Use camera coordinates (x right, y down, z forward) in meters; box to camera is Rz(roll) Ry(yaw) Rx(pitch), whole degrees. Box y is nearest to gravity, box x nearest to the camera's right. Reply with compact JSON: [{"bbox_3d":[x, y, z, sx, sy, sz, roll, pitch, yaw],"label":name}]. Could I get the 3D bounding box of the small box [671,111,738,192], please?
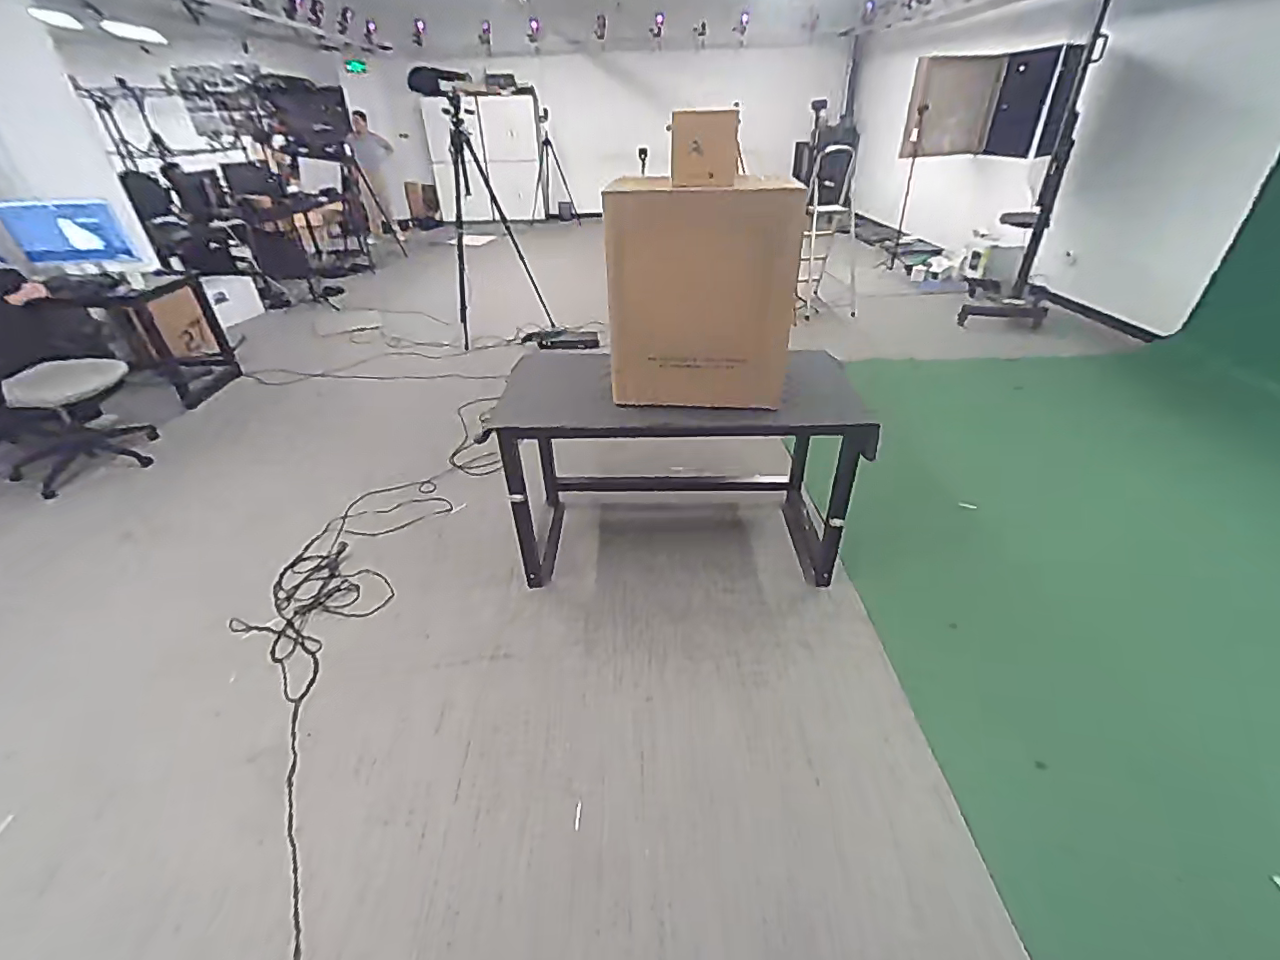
[{"bbox_3d":[0.169,-0.863,1.423,0.168,0.176,0.179,2,35,5],"label":"small box"}]
